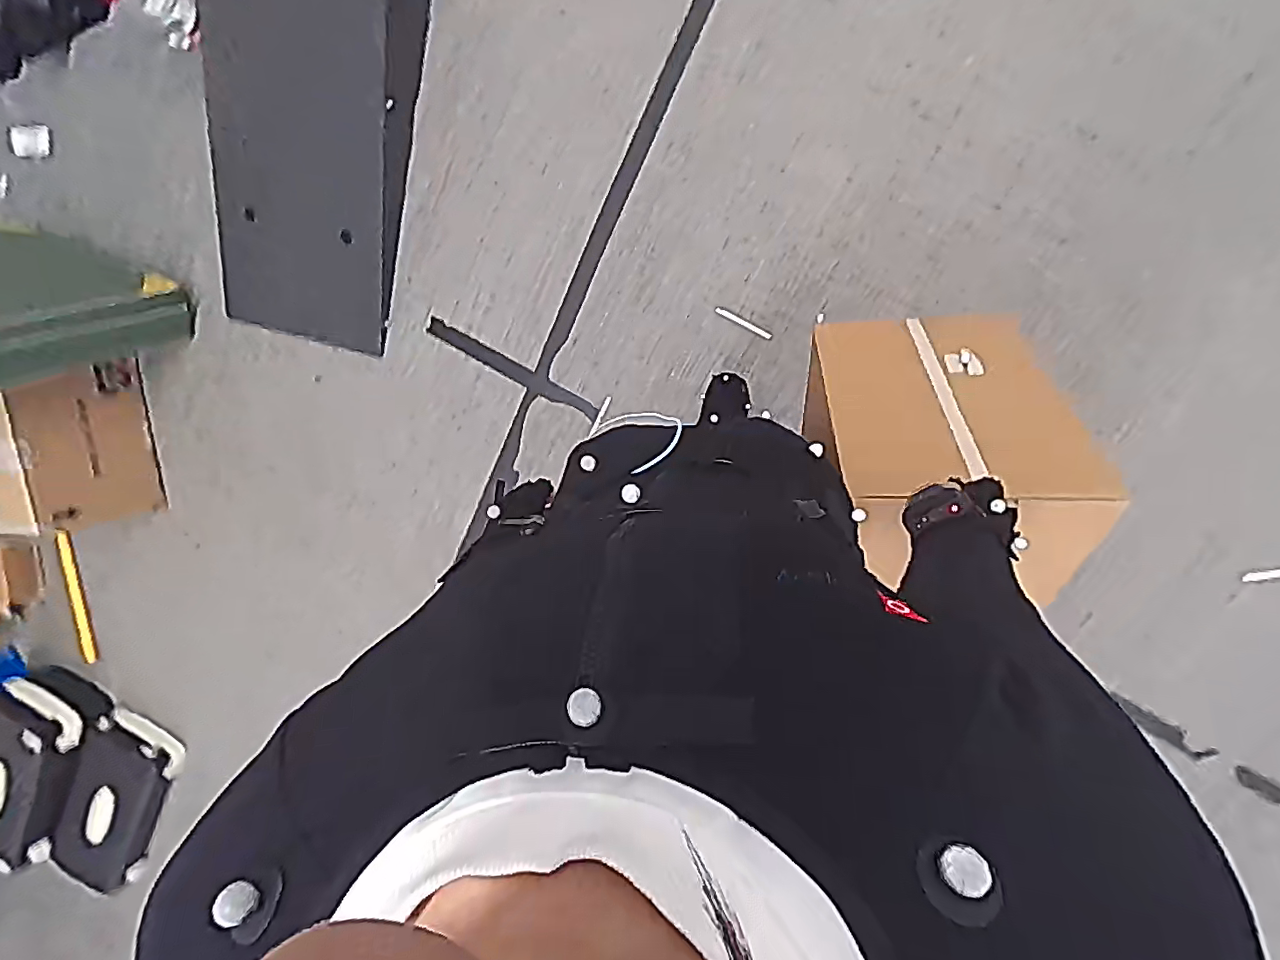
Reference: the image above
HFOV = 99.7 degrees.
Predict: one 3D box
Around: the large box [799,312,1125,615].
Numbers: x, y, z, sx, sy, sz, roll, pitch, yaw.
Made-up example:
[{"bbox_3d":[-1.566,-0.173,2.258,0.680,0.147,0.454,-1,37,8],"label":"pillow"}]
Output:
[{"bbox_3d":[0.452,-0.029,0.890,0.320,0.408,0.320,1,137,8],"label":"large box"}]
